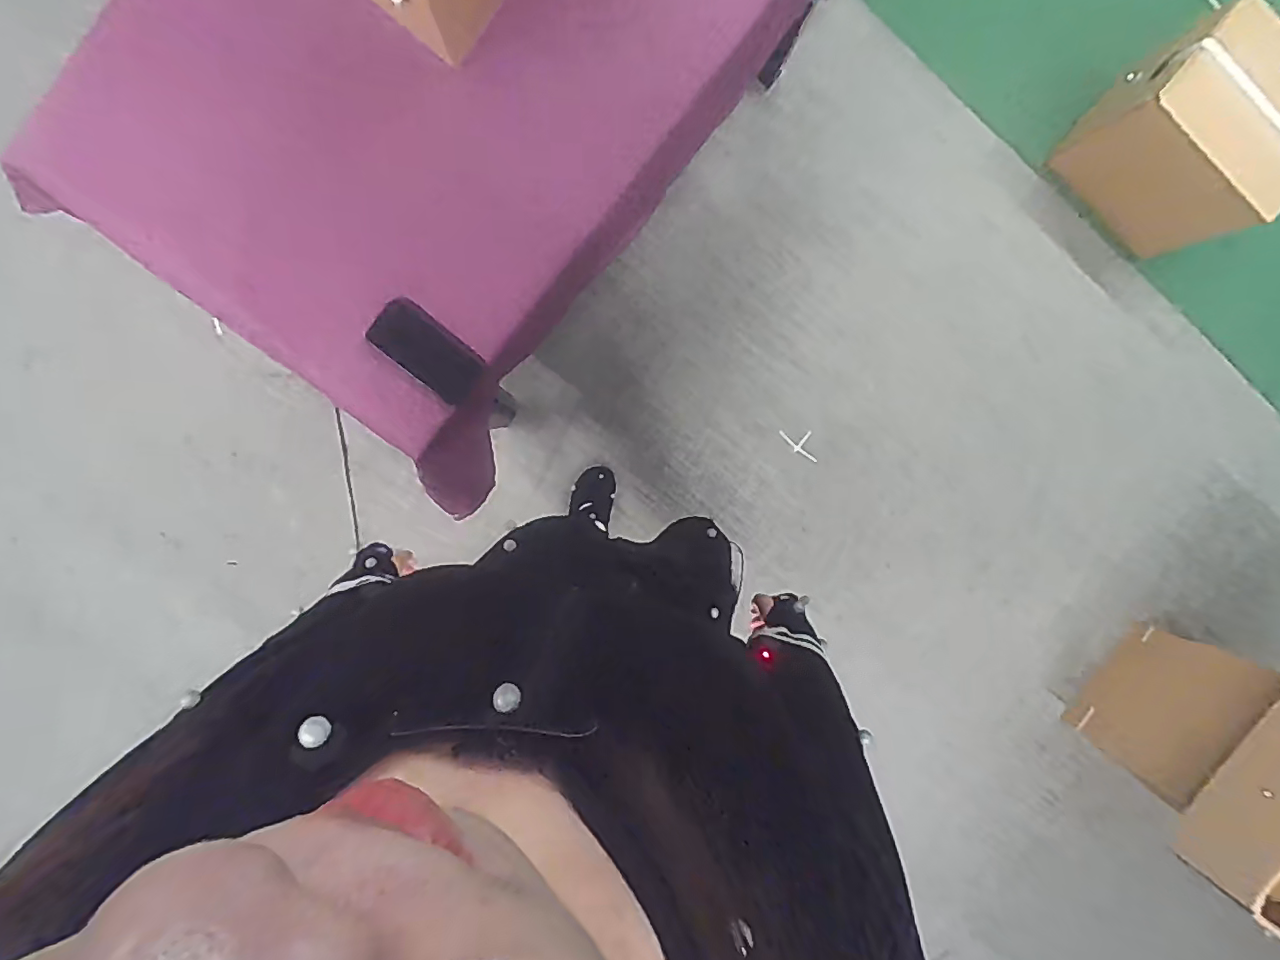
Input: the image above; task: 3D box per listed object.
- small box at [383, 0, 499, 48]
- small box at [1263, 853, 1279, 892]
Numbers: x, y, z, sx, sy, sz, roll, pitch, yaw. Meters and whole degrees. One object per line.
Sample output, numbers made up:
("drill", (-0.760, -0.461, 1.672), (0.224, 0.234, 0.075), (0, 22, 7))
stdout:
("small box", (-0.240, -0.631, 0.590), (0.179, 0.176, 0.168), (37, 92, -7))
("small box", (1.534, 0.903, 1.163), (0.179, 0.176, 0.168), (44, 93, -7))
